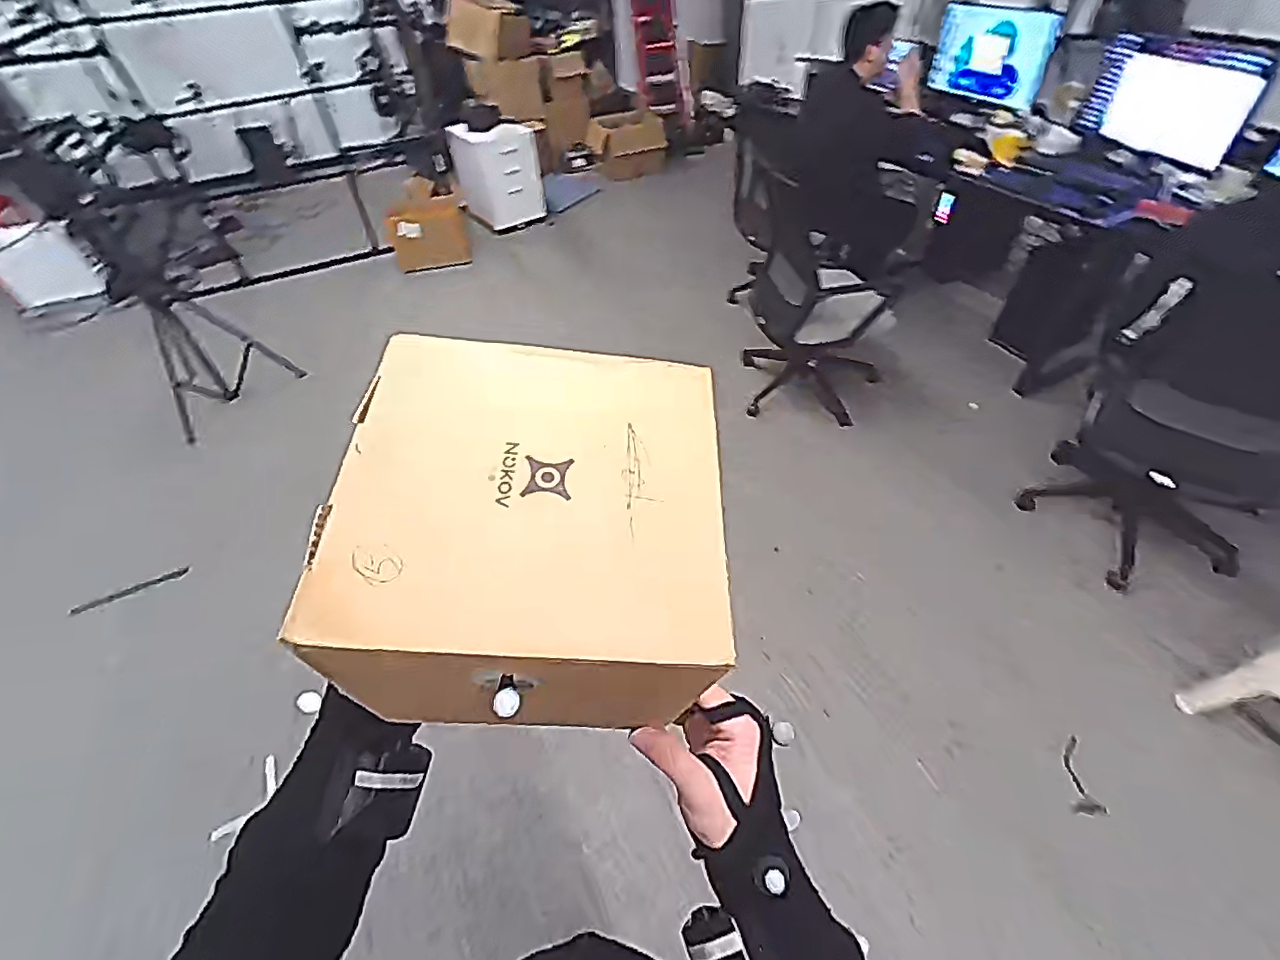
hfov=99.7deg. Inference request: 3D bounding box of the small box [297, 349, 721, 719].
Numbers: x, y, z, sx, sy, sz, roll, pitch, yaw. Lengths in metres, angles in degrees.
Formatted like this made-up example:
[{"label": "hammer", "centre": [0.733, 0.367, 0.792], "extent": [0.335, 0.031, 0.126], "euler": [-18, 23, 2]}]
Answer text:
[{"label": "small box", "centre": [-0.062, 0.045, 0.331], "extent": [0.179, 0.176, 0.168], "euler": [5, 58, -8]}]
